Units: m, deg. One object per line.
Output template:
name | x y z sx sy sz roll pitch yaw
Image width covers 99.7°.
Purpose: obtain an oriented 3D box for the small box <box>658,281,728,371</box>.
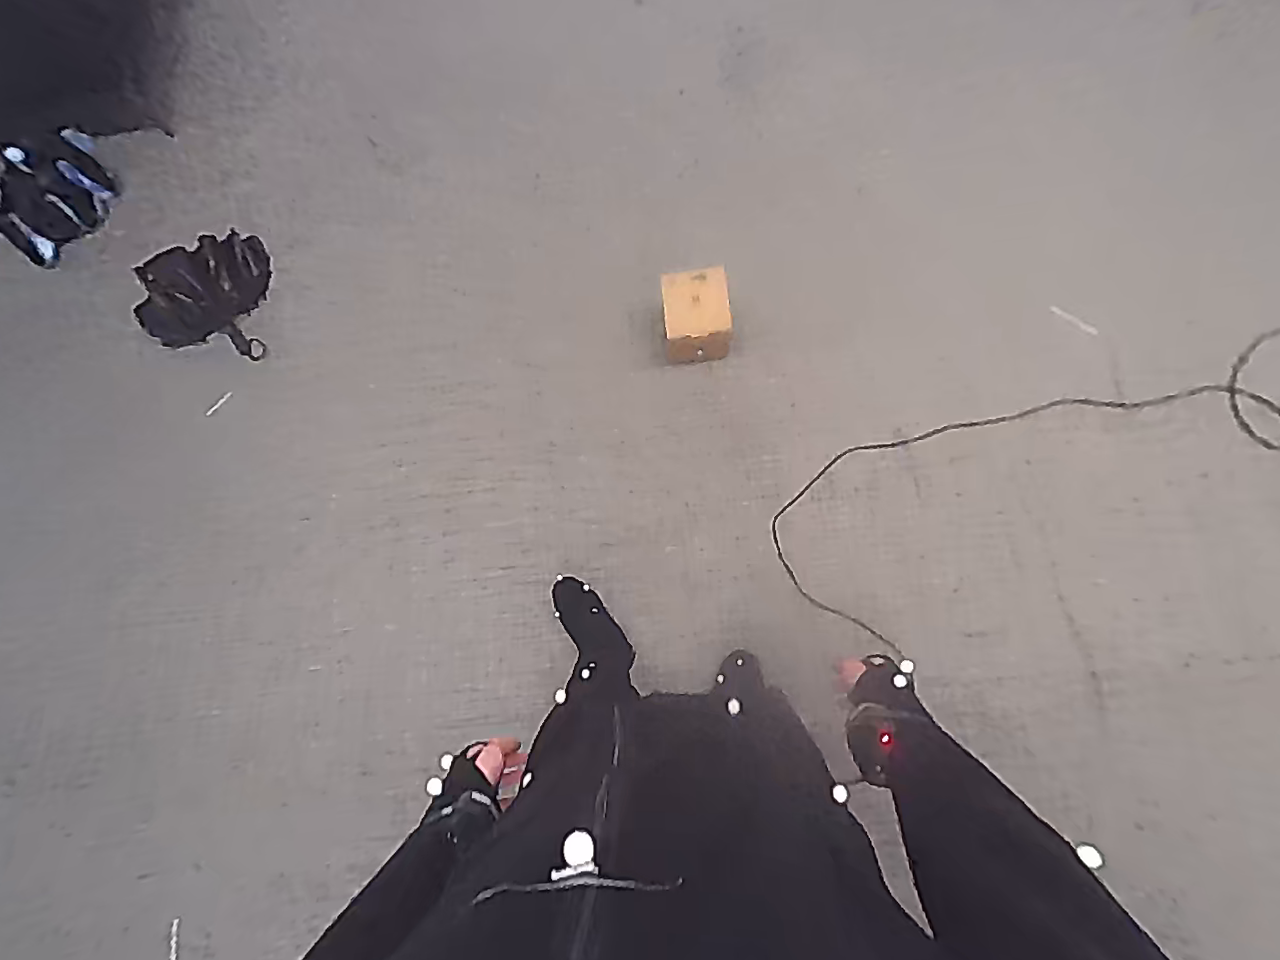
small box | 0.144 -0.407 1.461 0.168 0.176 0.179 -7 78 4
